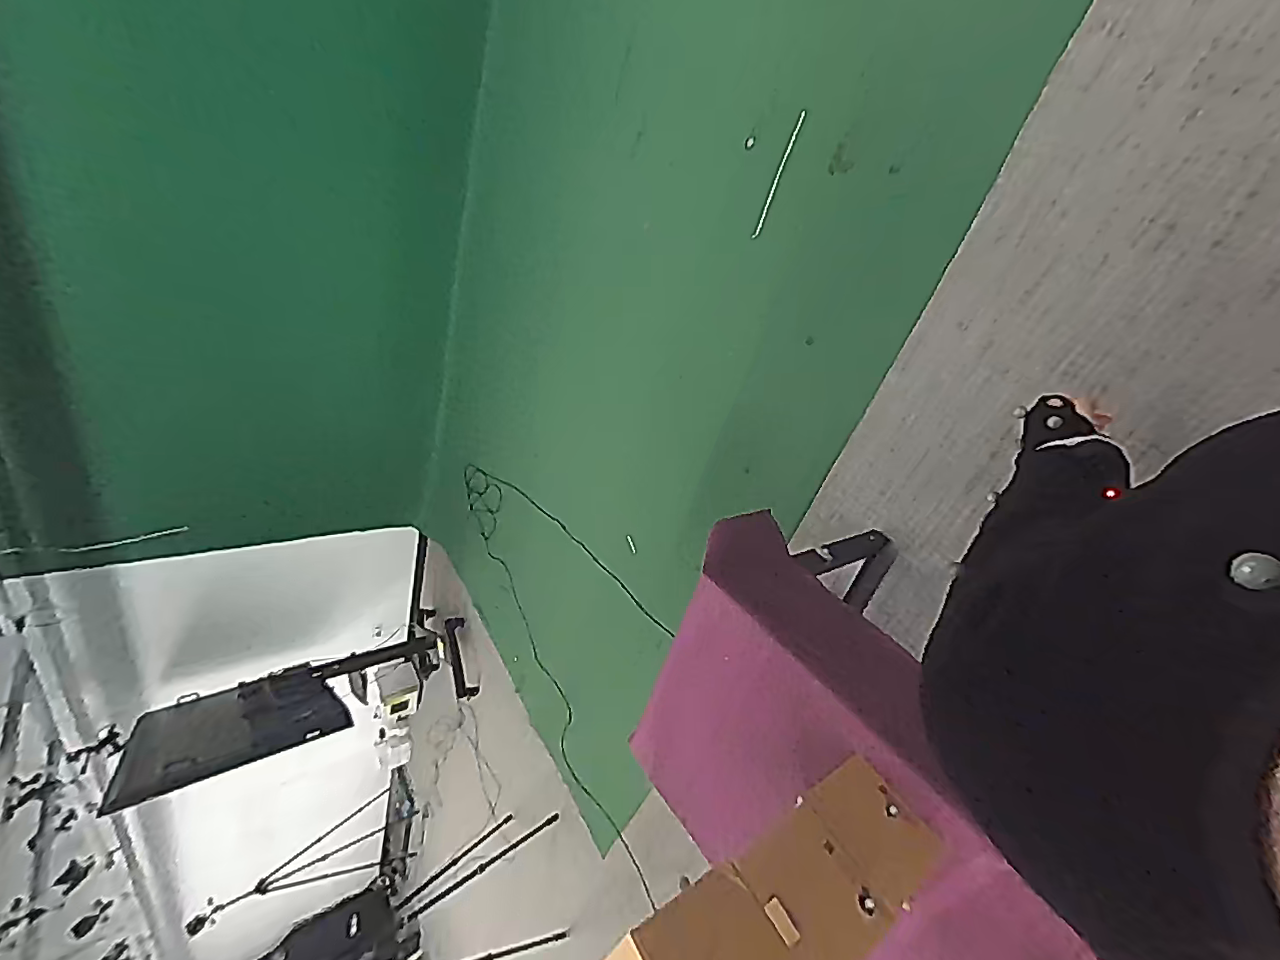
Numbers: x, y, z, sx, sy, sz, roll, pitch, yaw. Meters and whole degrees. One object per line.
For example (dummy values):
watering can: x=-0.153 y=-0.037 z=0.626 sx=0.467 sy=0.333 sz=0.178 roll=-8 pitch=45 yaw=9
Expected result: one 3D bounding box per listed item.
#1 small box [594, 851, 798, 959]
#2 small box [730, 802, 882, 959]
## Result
small box: x=0.073 y=0.597 z=0.643 sx=0.179 sy=0.176 sz=0.168 roll=49 pitch=129 yaw=36
small box: x=0.200 y=0.589 z=0.746 sx=0.168 sy=0.176 sz=0.179 roll=48 pitch=130 yaw=37
